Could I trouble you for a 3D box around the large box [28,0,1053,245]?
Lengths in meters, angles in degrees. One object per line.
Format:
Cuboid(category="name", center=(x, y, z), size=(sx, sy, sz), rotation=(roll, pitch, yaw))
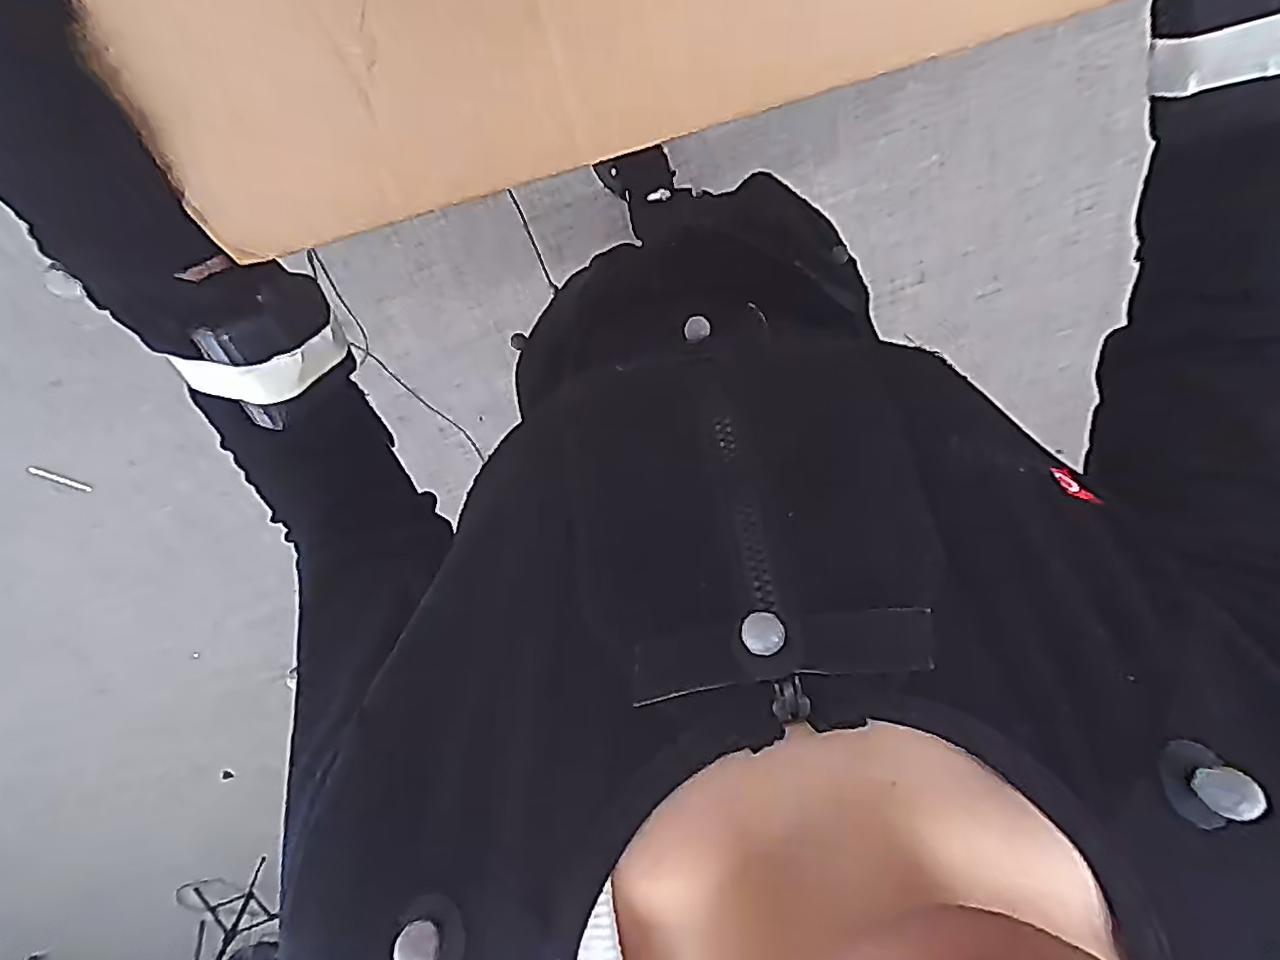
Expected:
Cuboid(category="large box", center=(-0.043, -0.360, 0.206), size=(0.408, 0.320, 0.320), rotation=(-13, 141, 6))
